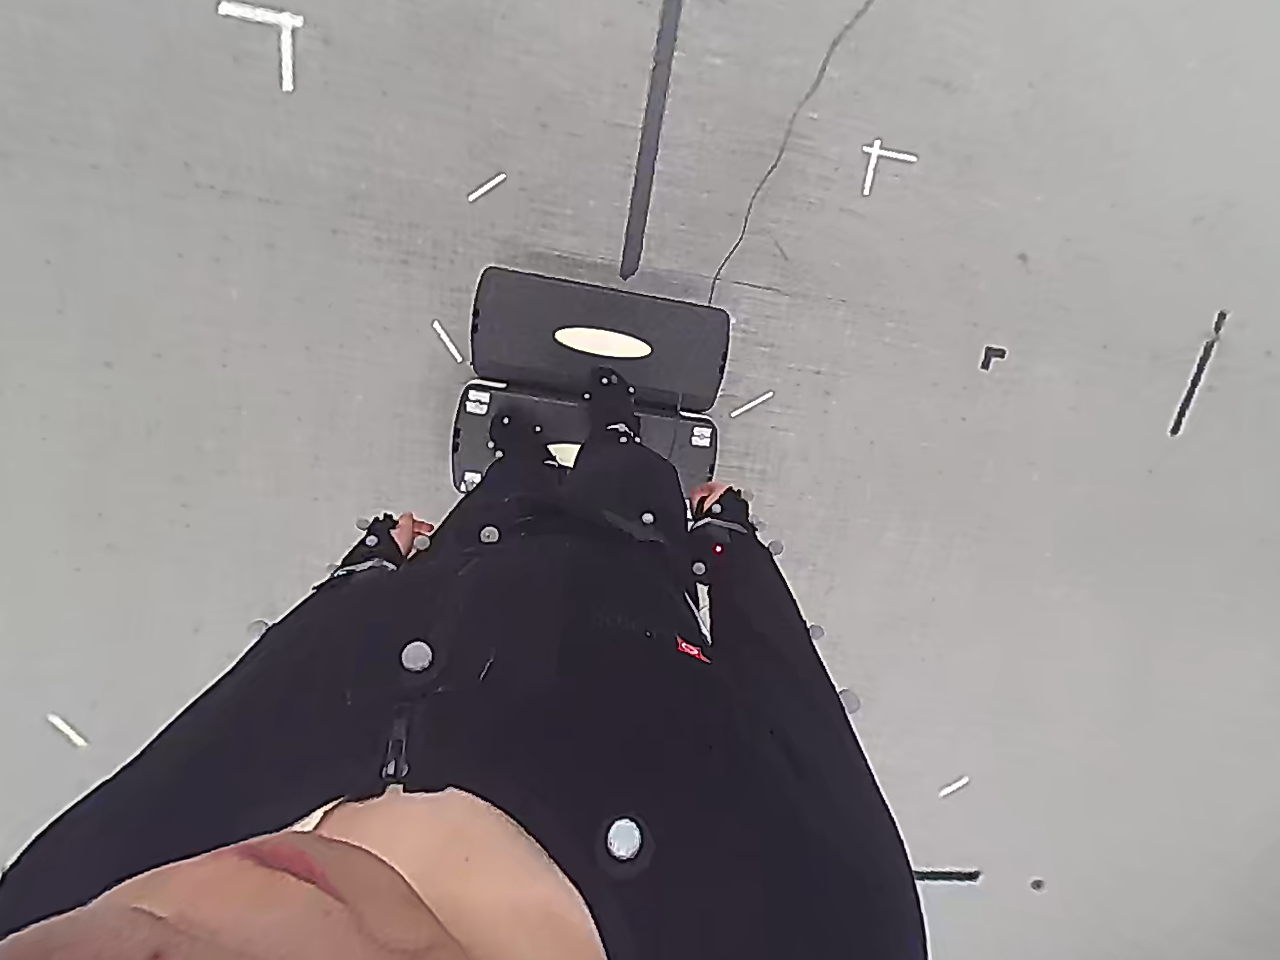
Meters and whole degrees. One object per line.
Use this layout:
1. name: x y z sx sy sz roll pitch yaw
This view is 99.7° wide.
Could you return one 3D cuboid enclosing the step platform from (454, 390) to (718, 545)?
1. step platform: -0.137 -0.032 1.455 0.684 0.204 0.286 12 100 -8
